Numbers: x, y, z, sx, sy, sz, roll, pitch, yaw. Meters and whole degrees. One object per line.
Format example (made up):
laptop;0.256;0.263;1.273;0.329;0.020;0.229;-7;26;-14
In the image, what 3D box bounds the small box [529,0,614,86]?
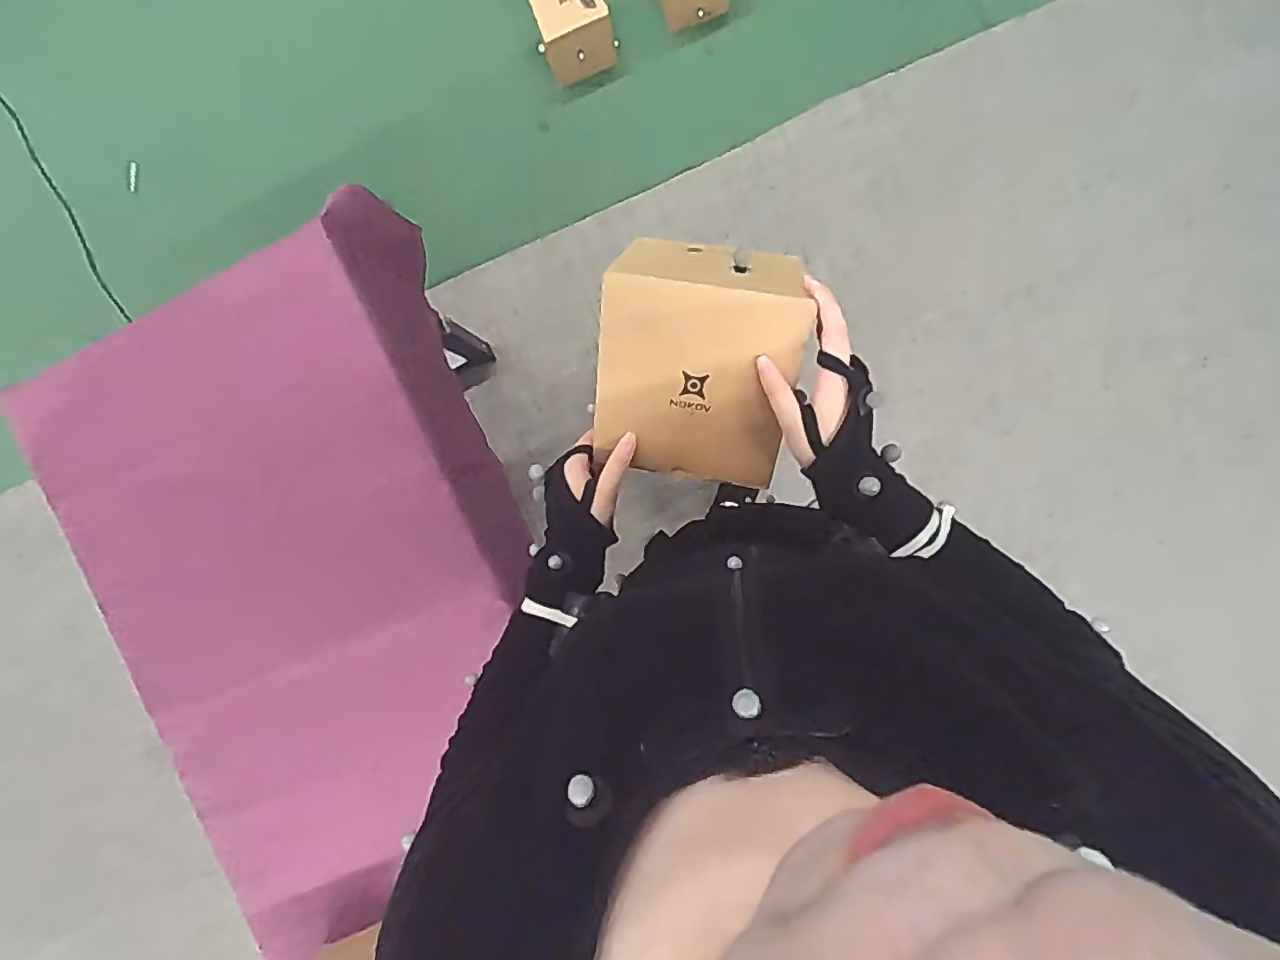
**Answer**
small box;-0.175;-1.195;1.421;0.179;0.176;0.168;-20;89;6
